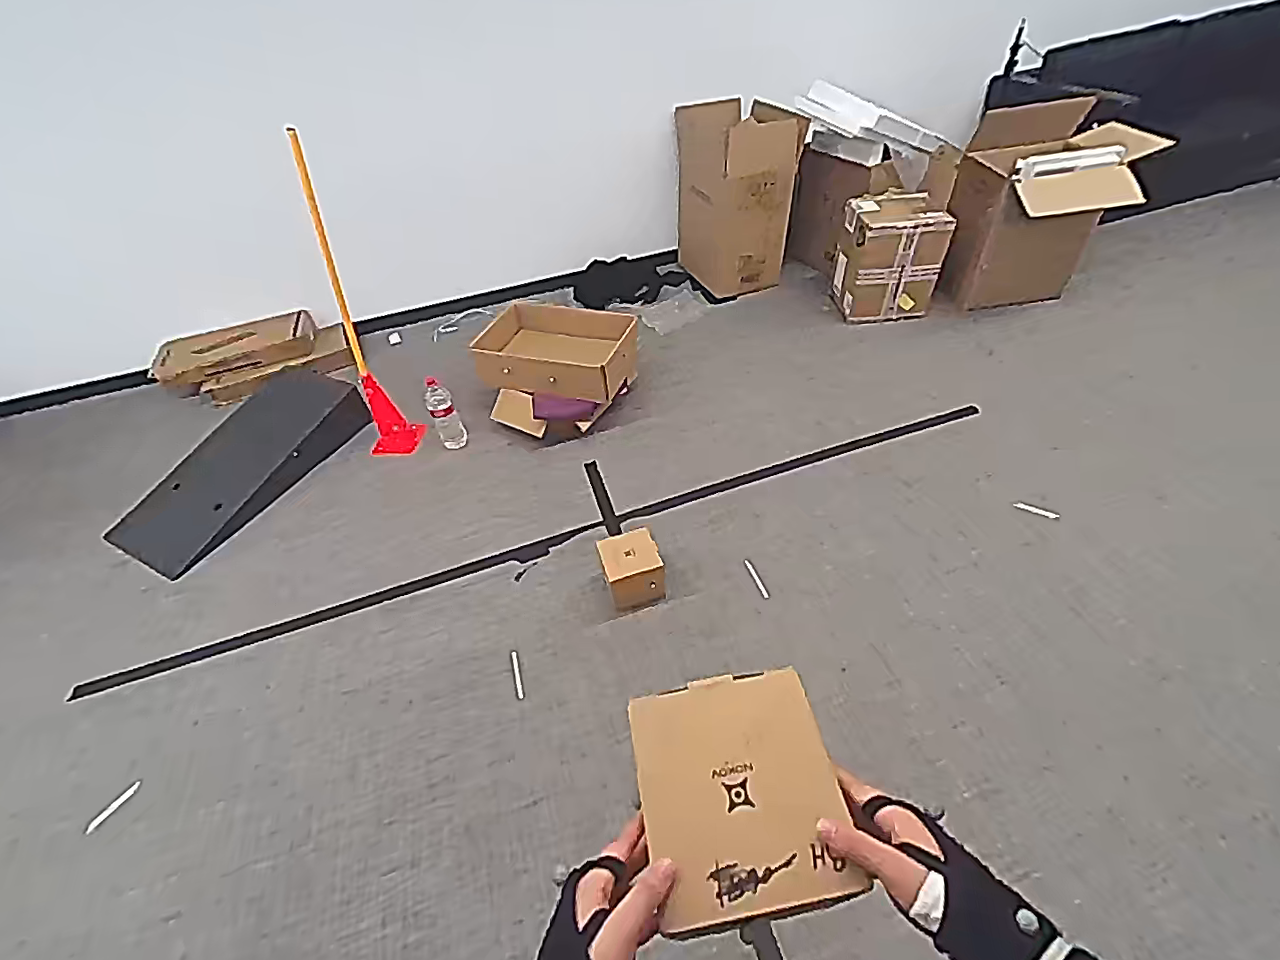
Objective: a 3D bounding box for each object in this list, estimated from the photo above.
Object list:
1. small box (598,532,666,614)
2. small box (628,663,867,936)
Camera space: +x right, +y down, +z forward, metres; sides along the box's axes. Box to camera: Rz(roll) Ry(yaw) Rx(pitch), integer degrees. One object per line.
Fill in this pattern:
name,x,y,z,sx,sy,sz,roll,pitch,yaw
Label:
small box,-0.022,0.300,1.730,0.179,0.176,0.168,-17,45,-9
small box,0.088,0.306,0.519,0.168,0.176,0.179,-12,47,-1
